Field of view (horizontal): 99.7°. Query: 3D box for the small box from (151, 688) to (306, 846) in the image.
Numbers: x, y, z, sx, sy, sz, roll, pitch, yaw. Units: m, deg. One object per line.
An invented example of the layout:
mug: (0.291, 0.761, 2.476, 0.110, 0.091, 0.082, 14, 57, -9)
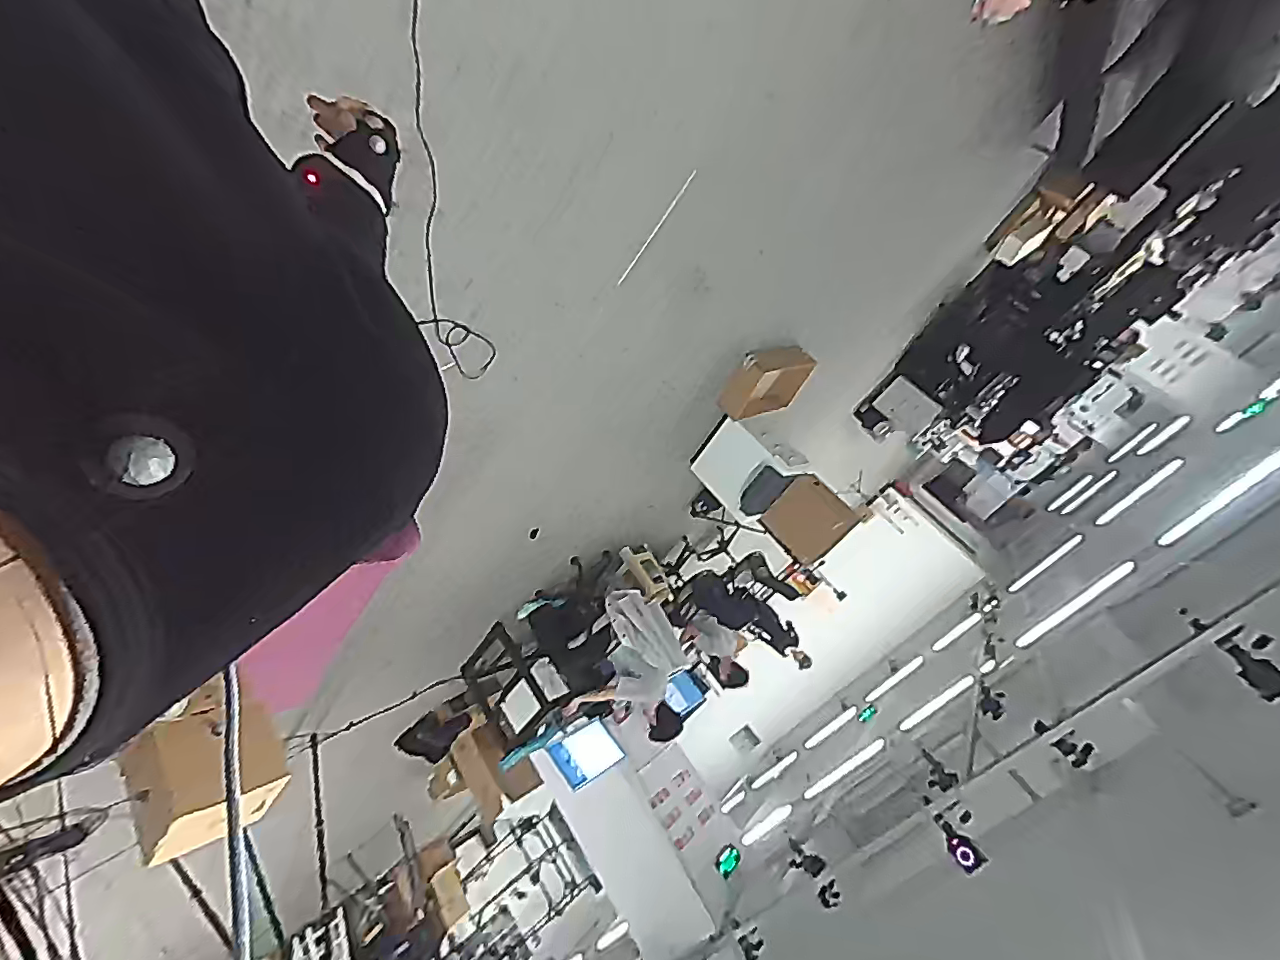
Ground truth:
small box: (-0.768, 0.521, 1.006, 0.168, 0.176, 0.179, -49, 154, 21)

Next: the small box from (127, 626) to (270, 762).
small box: (-0.871, 0.405, 1.063, 0.179, 0.176, 0.168, -49, 154, 22)
